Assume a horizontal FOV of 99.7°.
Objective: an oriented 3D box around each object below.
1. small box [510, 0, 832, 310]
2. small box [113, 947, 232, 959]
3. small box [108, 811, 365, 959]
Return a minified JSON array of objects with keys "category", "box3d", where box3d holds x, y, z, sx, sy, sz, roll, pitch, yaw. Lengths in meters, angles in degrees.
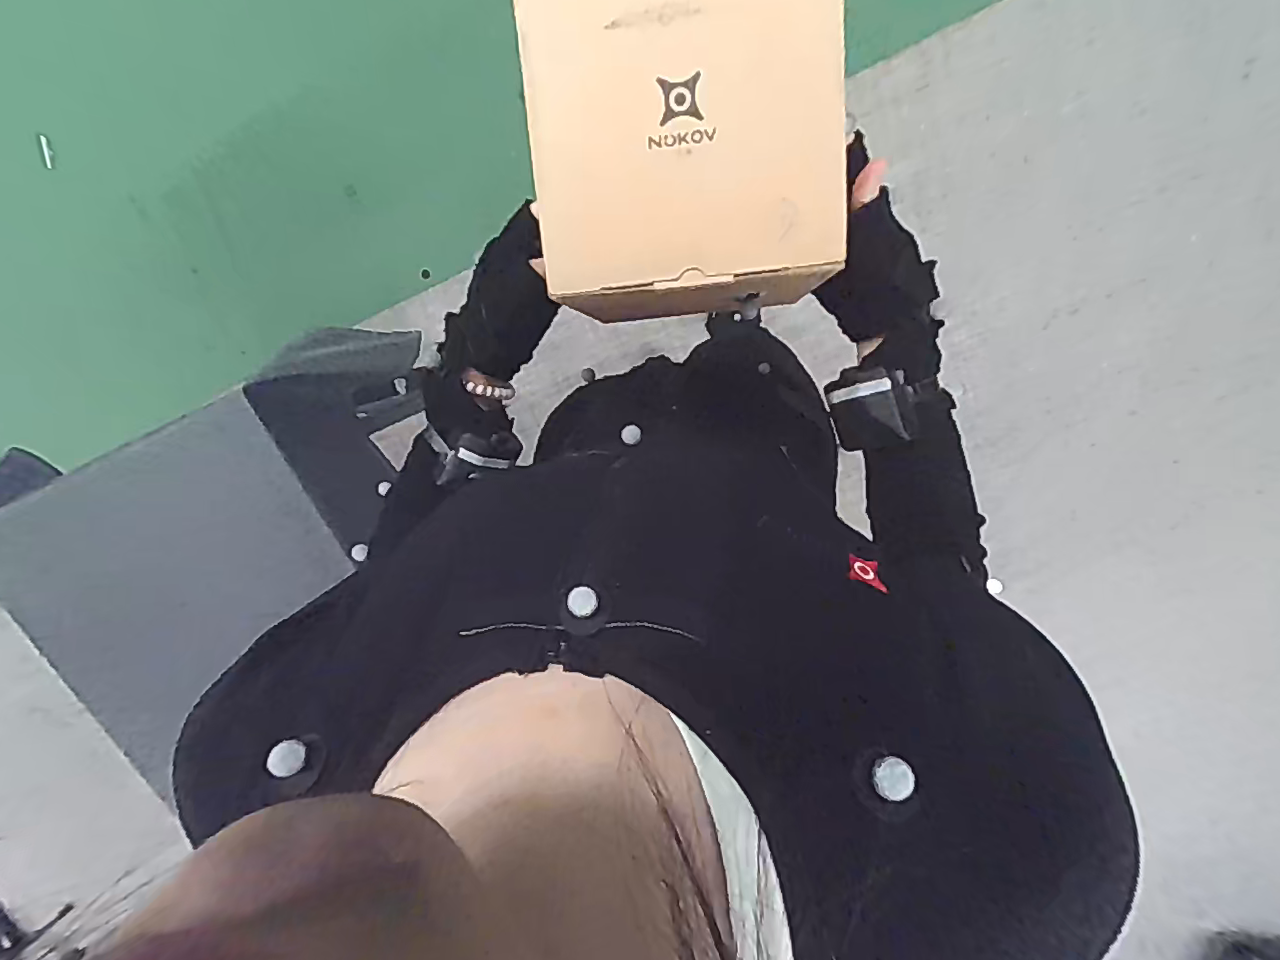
[{"category":"small box","box3d":[0.027,-0.215,0.365,0.168,0.176,0.179,-4,101,8]},{"category":"small box","box3d":[-0.525,0.629,0.558,0.168,0.176,0.179,-20,104,11]},{"category":"small box","box3d":[-0.513,0.584,0.716,0.179,0.176,0.168,-22,103,11]}]
